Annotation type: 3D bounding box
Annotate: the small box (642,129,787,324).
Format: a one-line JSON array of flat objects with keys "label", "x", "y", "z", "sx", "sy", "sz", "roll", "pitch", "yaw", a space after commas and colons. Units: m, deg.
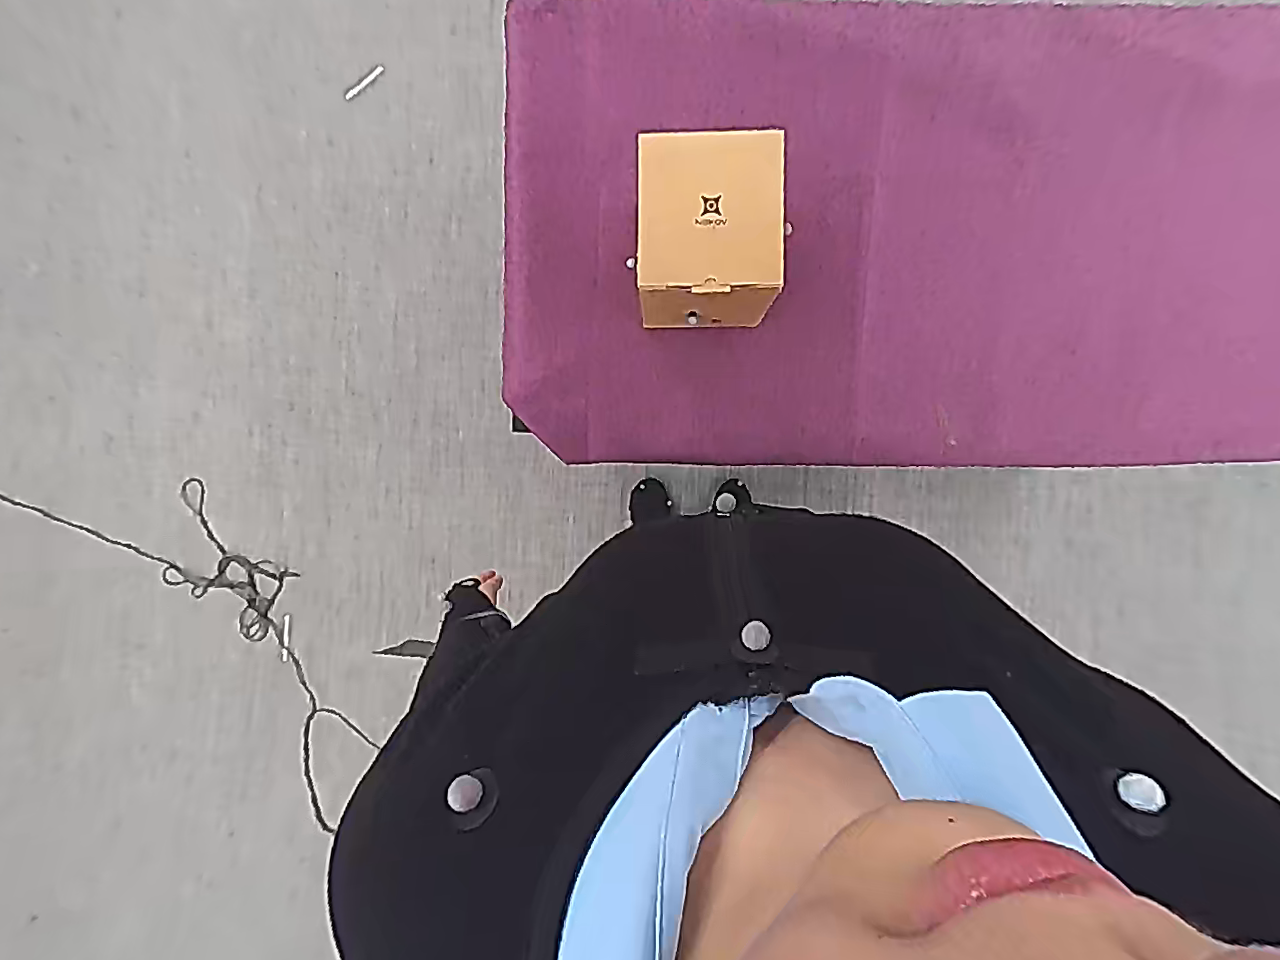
[{"label": "small box", "x": 0.085, "y": -0.307, "z": 0.686, "sx": 0.168, "sy": 0.176, "sz": 0.179, "roll": -1, "pitch": 92, "yaw": 2}]
